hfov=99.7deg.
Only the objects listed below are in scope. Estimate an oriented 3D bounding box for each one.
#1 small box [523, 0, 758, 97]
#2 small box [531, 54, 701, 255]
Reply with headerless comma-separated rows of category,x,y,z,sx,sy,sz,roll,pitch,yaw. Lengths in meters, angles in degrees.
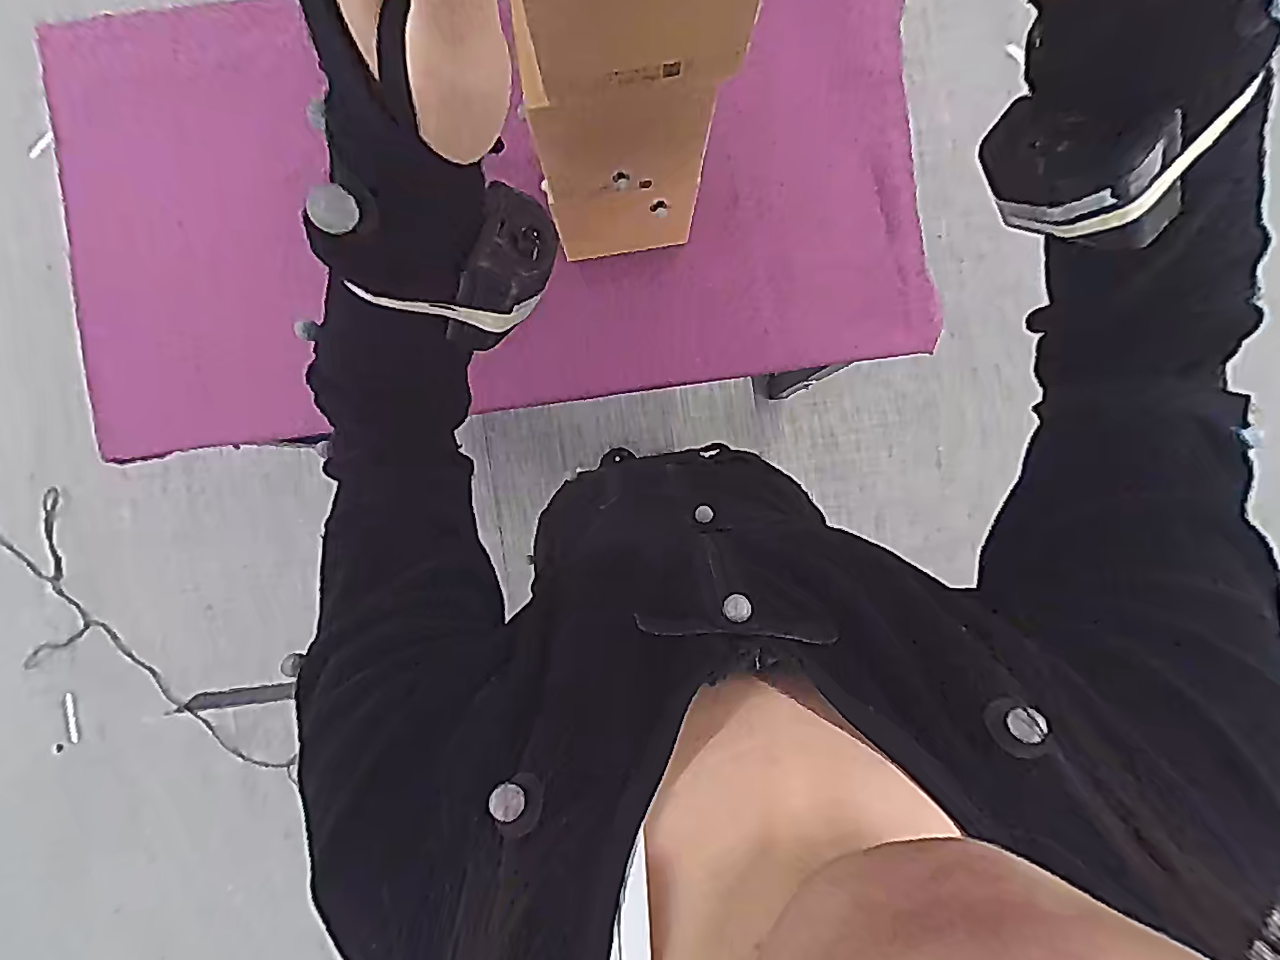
small box,-0.009,-0.407,0.361,0.168,0.176,0.179,-9,90,0
small box,-0.028,-0.409,0.689,0.179,0.176,0.168,-9,90,1
